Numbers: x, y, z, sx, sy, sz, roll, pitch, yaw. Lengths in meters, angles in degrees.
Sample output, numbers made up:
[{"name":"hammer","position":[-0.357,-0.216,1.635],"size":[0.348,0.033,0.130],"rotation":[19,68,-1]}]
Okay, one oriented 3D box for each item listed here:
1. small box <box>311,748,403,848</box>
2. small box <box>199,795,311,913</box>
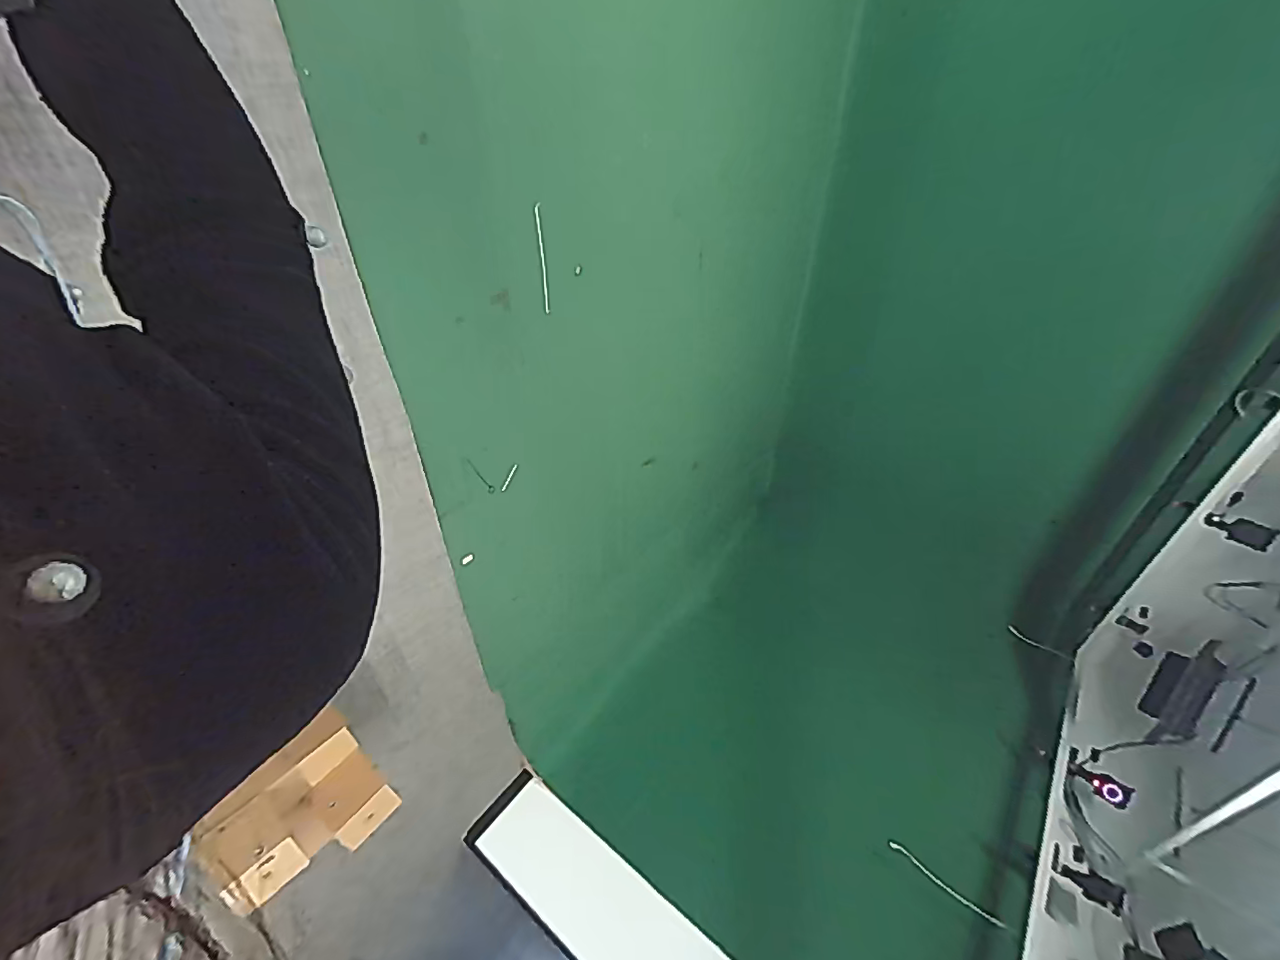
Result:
[{"name":"small box","position":[-0.876,0.976,1.667],"size":[0.179,0.176,0.168],"rotation":[-41,146,-36]},{"name":"small box","position":[-1.017,0.982,1.433],"size":[0.168,0.176,0.179],"rotation":[-35,142,-40]}]
